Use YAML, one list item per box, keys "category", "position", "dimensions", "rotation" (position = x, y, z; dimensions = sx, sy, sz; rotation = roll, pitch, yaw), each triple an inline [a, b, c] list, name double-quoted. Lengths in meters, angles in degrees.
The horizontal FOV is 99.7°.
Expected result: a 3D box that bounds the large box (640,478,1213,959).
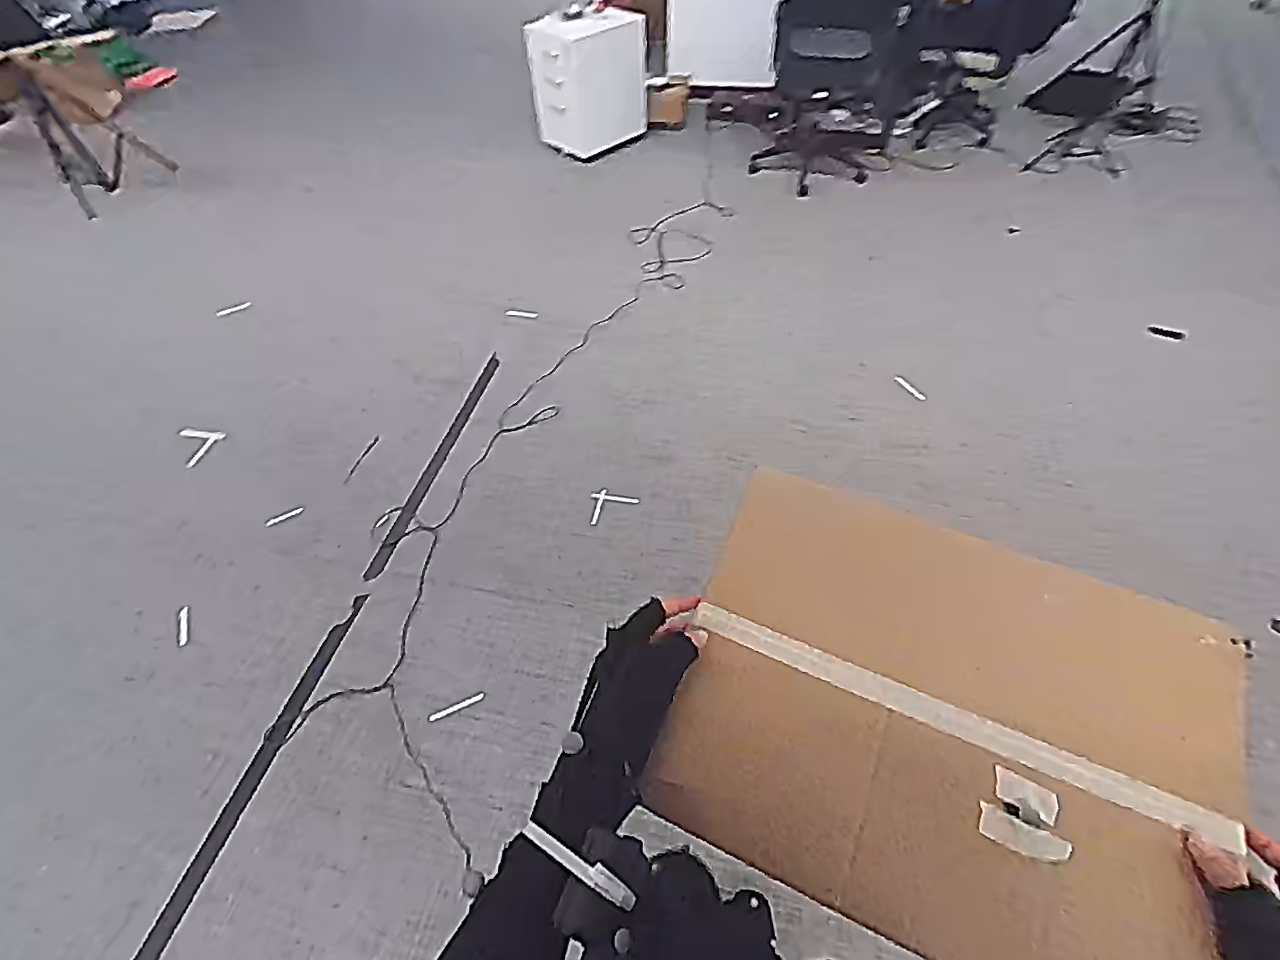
- category: "large box"
  position: [0.248, 0.248, 0.581]
  dimensions: [0.408, 0.320, 0.320]
  rotation: [20, 70, 14]
